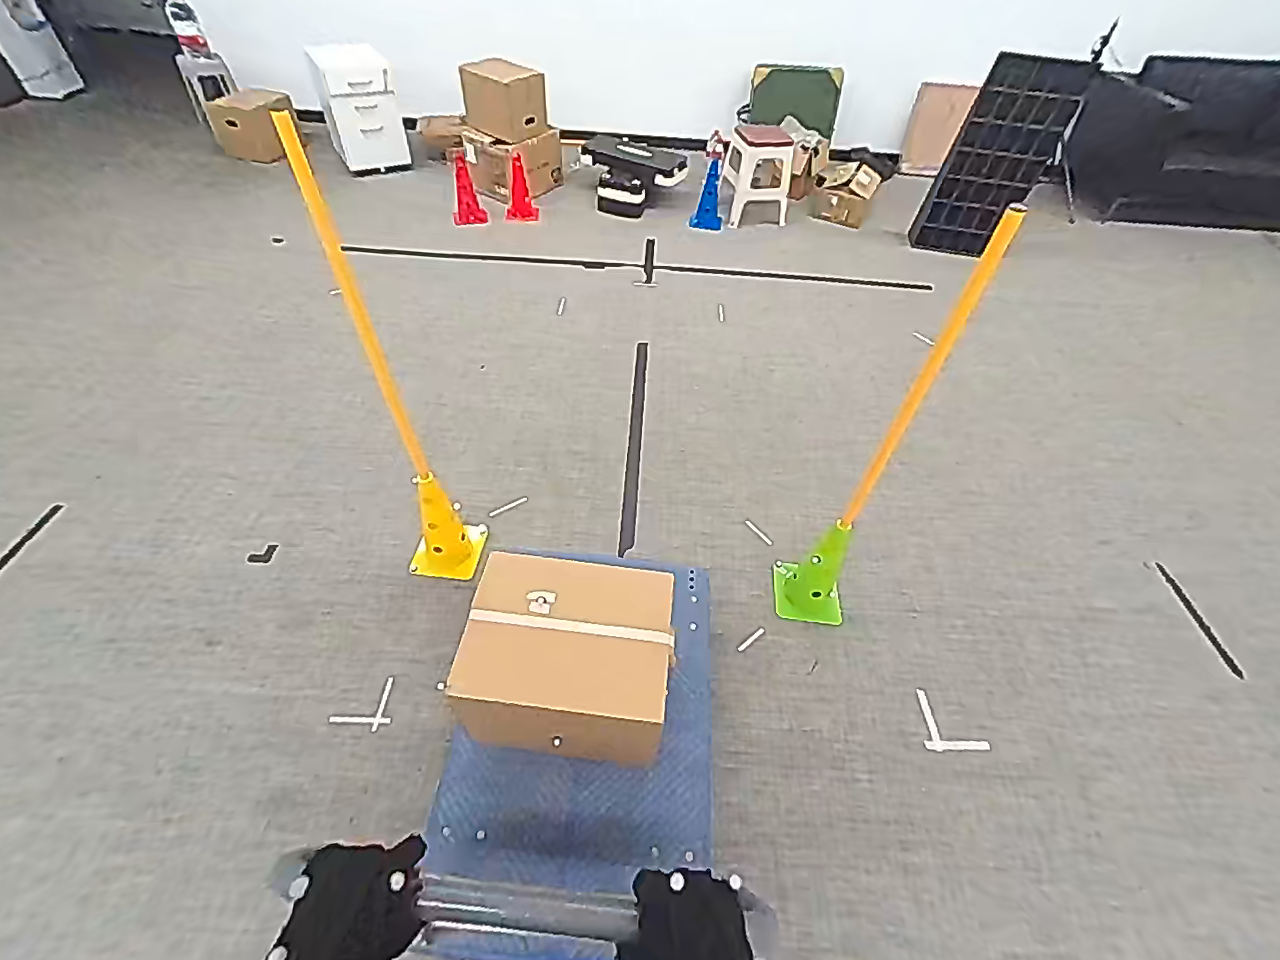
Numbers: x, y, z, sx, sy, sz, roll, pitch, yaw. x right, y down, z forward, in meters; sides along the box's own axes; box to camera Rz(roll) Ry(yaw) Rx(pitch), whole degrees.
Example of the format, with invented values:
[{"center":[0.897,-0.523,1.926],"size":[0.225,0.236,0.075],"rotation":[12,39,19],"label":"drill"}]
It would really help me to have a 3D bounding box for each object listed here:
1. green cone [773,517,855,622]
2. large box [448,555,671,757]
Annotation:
[{"center":[0.536,0.235,1.577],"size":[0.202,0.368,0.200],"rotation":[8,49,1],"label":"green cone"},{"center":[-0.147,0.395,1.197],"size":[0.408,0.320,0.320],"rotation":[7,49,3],"label":"large box"}]
